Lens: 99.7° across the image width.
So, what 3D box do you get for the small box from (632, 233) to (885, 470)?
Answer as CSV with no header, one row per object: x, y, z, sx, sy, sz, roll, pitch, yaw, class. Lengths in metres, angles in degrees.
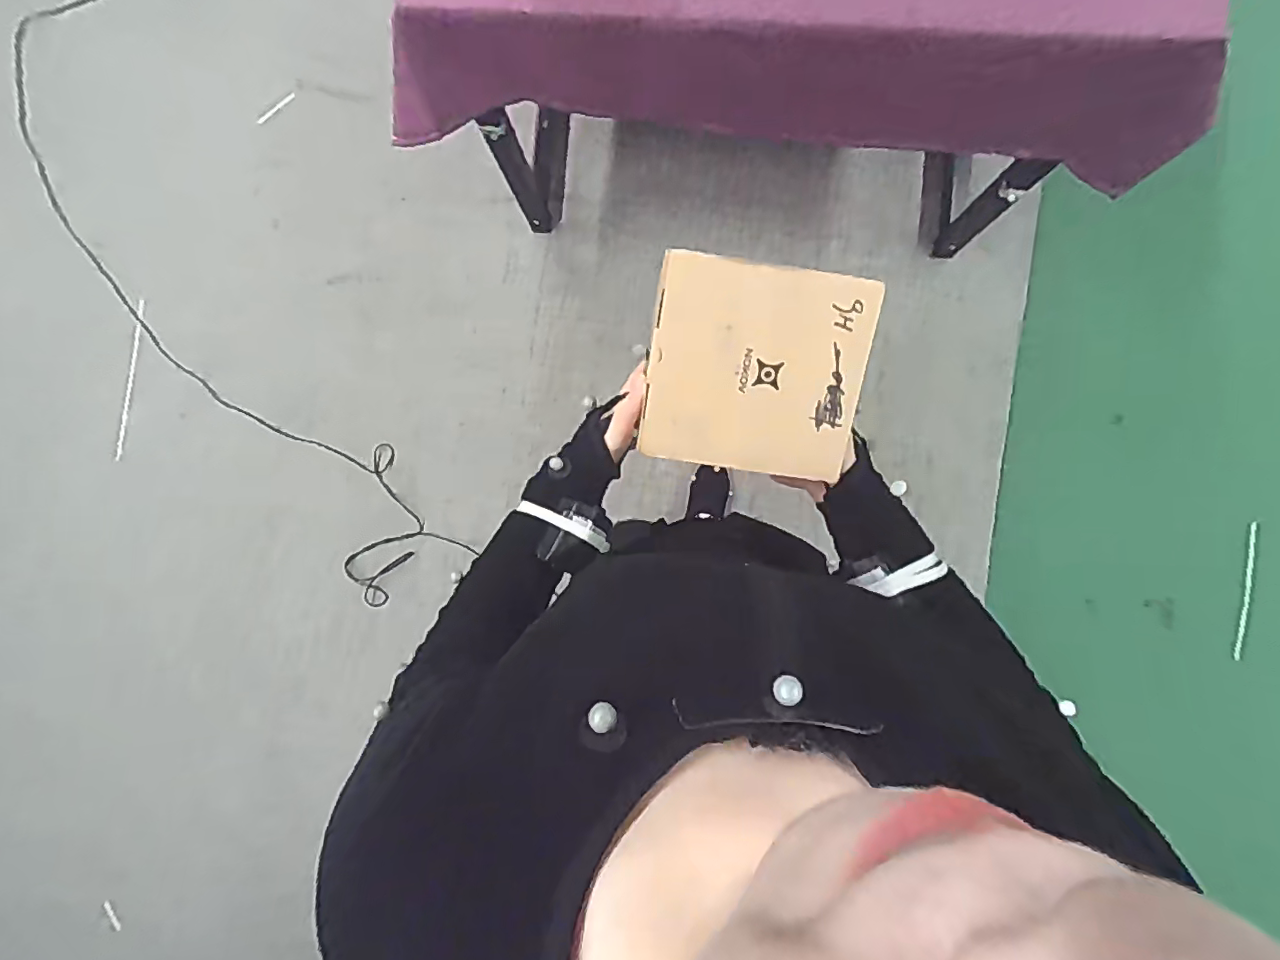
0.093,-0.118,0.511,0.179,0.176,0.168,9,105,-1,small box
